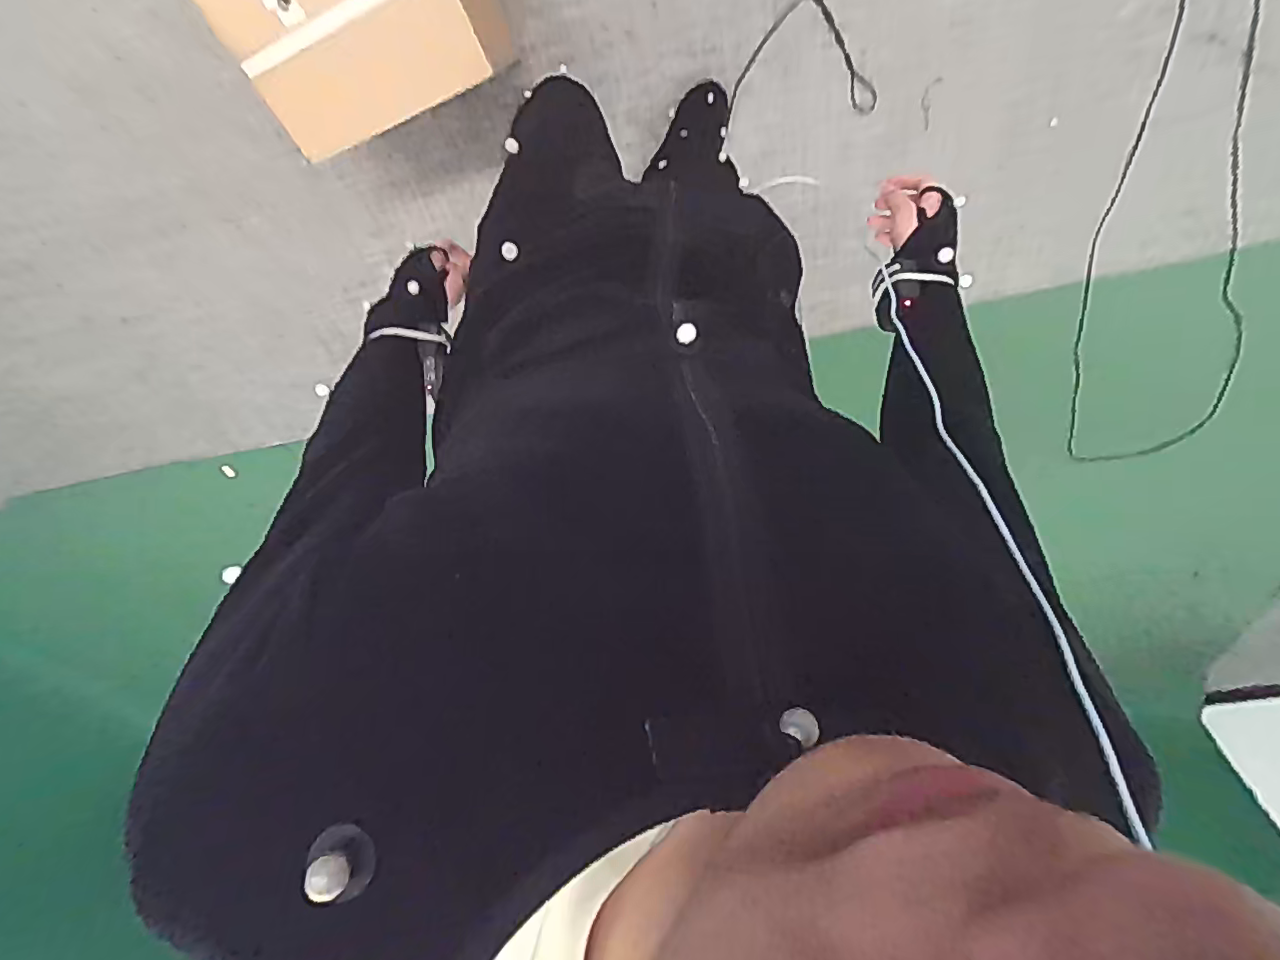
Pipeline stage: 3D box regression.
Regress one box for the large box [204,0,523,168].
[{"bbox_3d":[-0.487,-0.864,1.013,0.408,0.320,0.320,-16,130,14],"label":"large box"}]
